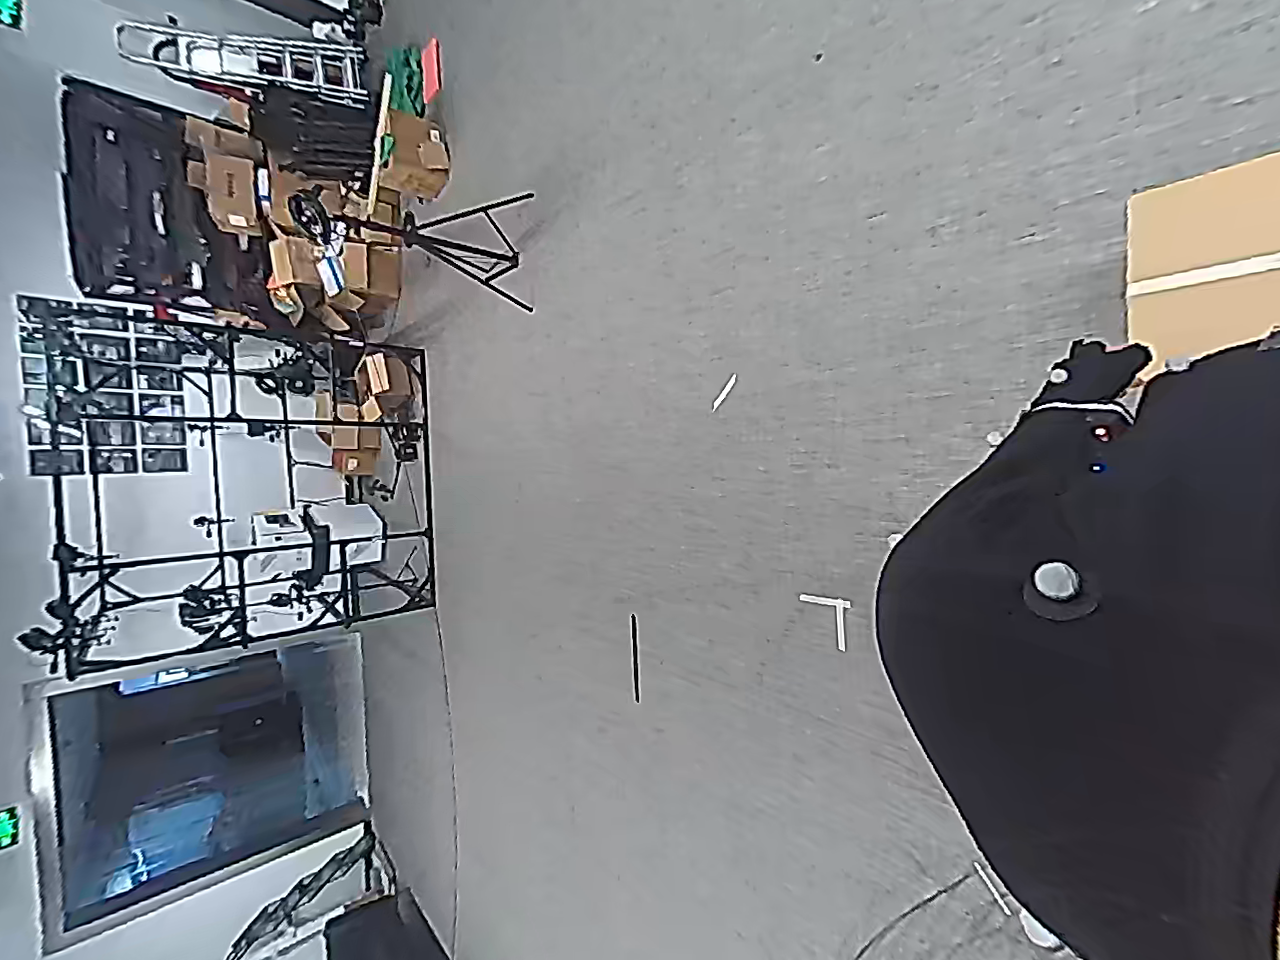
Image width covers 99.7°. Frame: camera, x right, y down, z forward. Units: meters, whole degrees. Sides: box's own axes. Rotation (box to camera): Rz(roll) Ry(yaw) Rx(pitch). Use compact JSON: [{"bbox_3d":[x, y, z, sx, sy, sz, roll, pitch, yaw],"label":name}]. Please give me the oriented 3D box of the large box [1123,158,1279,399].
[{"bbox_3d":[1.060,-0.317,0.860,0.408,0.320,0.320,0,92,49],"label":"large box"}]
